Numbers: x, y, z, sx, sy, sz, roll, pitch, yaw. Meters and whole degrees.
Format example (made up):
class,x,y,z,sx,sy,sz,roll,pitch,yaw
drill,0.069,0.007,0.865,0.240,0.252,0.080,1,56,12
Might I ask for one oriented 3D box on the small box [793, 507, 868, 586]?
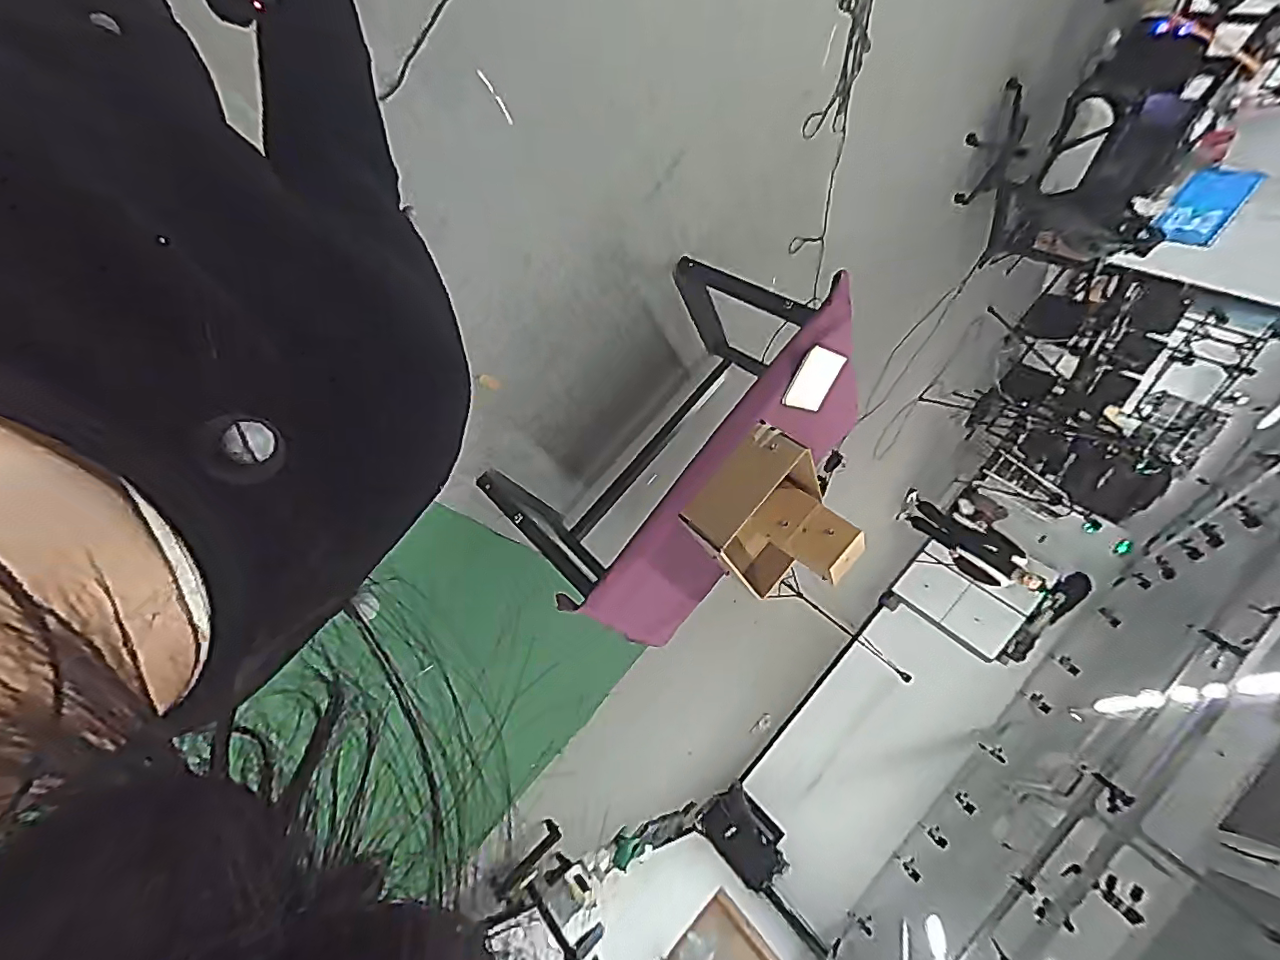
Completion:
class,x,y,z,sx,sy,sz,roll,pitch,yaw
small box,0.618,0.211,1.763,0.168,0.176,0.179,-48,144,-6
